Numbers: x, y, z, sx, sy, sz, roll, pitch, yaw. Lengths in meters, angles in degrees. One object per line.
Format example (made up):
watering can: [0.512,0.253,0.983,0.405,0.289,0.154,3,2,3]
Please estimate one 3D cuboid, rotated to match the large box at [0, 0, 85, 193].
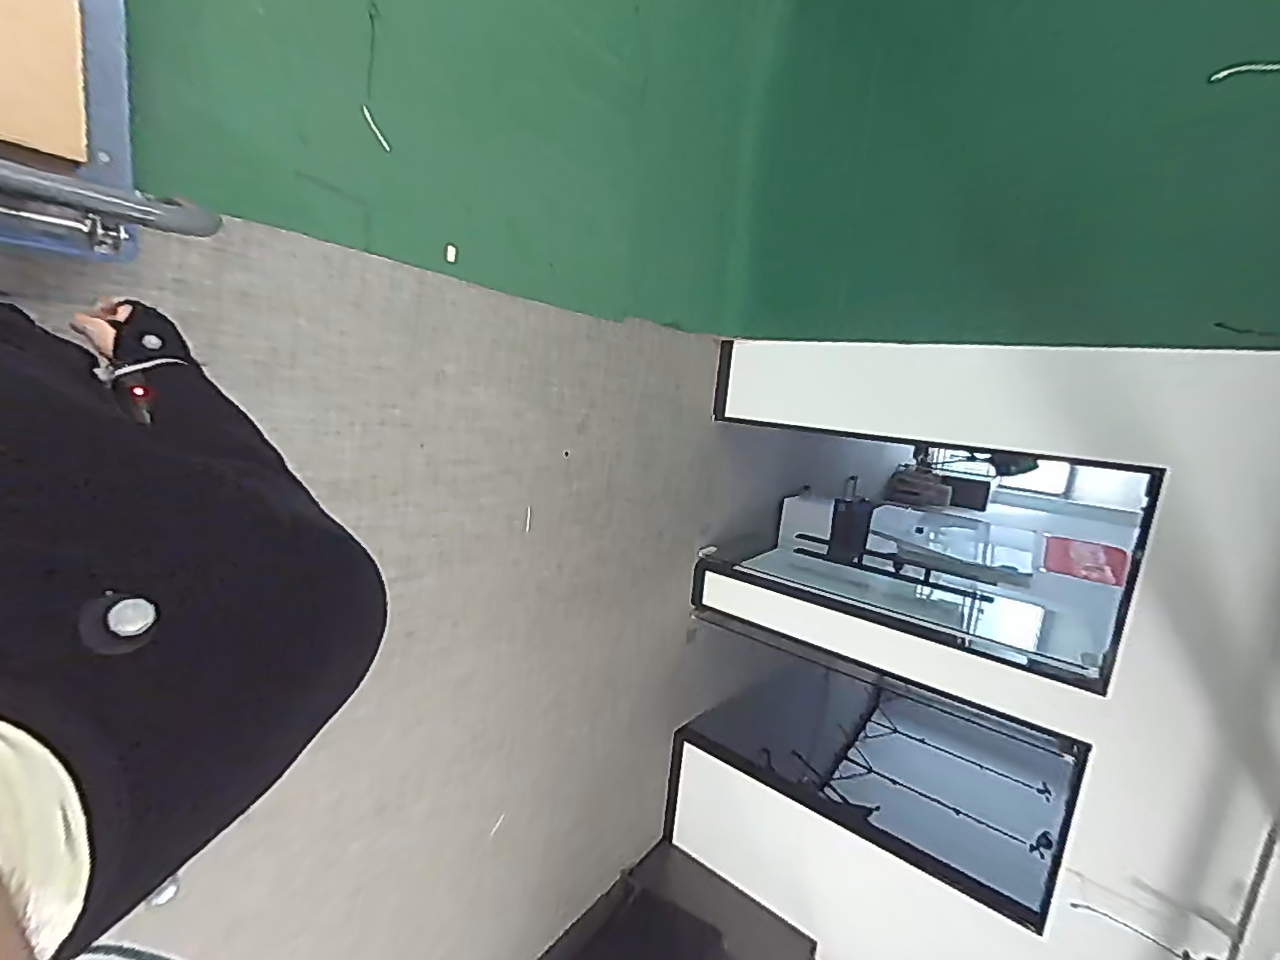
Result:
large box: [-1.017,-0.671,0.734,0.320,0.320,0.408,-8,105,-53]
